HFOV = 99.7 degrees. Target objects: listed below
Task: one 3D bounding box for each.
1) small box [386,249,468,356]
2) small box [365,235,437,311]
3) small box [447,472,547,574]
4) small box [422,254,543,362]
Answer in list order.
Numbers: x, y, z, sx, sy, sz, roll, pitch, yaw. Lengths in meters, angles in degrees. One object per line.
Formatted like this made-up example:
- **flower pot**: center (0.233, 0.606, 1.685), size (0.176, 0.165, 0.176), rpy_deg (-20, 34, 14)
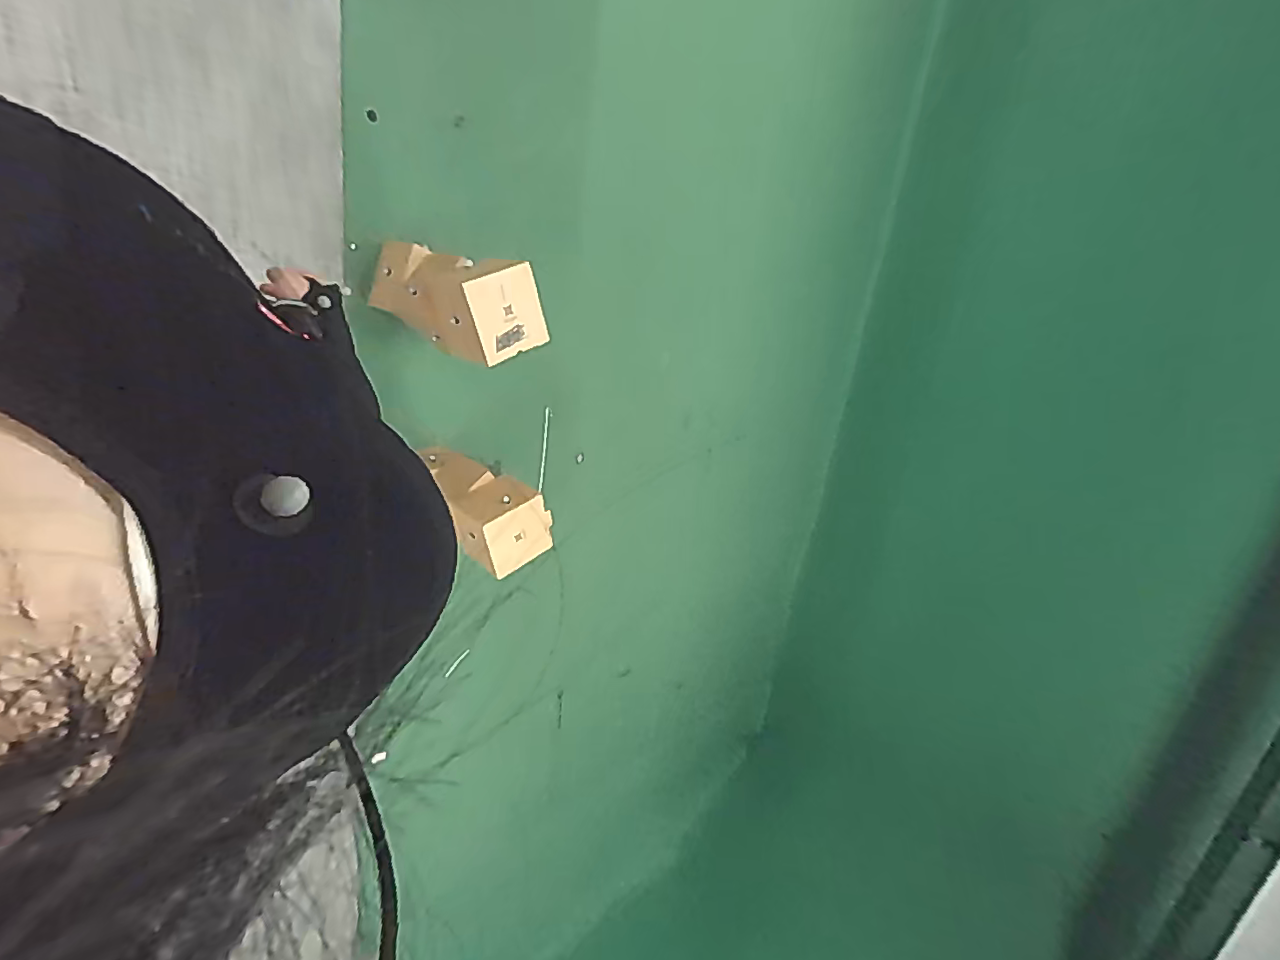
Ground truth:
- **small box**: center (-0.459, -0.420, 1.277), size (0.168, 0.176, 0.179), rpy_deg (-56, 141, -10)
- **small box**: center (-0.566, -0.501, 1.373), size (0.179, 0.176, 0.168), rpy_deg (13, 99, -51)
- **small box**: center (-0.367, 0.102, 1.376), size (0.179, 0.176, 0.168), rpy_deg (-32, 130, -35)
- **small box**: center (-0.340, -0.378, 1.172), size (0.168, 0.176, 0.179), rpy_deg (-34, 131, -32)
